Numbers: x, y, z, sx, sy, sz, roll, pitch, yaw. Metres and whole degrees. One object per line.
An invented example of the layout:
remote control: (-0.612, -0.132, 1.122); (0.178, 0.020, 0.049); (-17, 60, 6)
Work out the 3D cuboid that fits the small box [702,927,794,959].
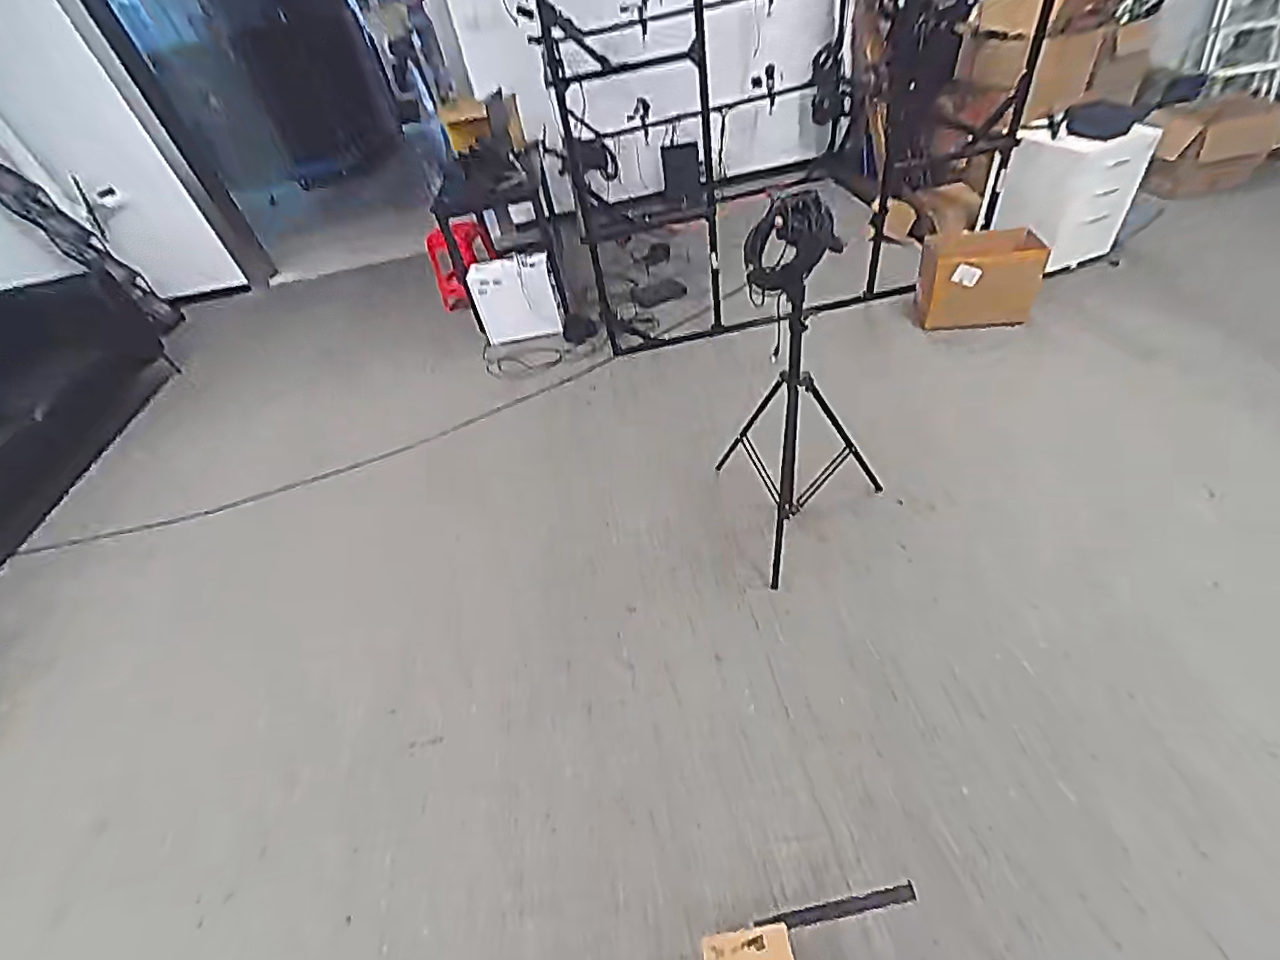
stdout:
small box: (0.220, 0.980, 1.025); (0.168, 0.176, 0.179); (-11, 44, 1)
